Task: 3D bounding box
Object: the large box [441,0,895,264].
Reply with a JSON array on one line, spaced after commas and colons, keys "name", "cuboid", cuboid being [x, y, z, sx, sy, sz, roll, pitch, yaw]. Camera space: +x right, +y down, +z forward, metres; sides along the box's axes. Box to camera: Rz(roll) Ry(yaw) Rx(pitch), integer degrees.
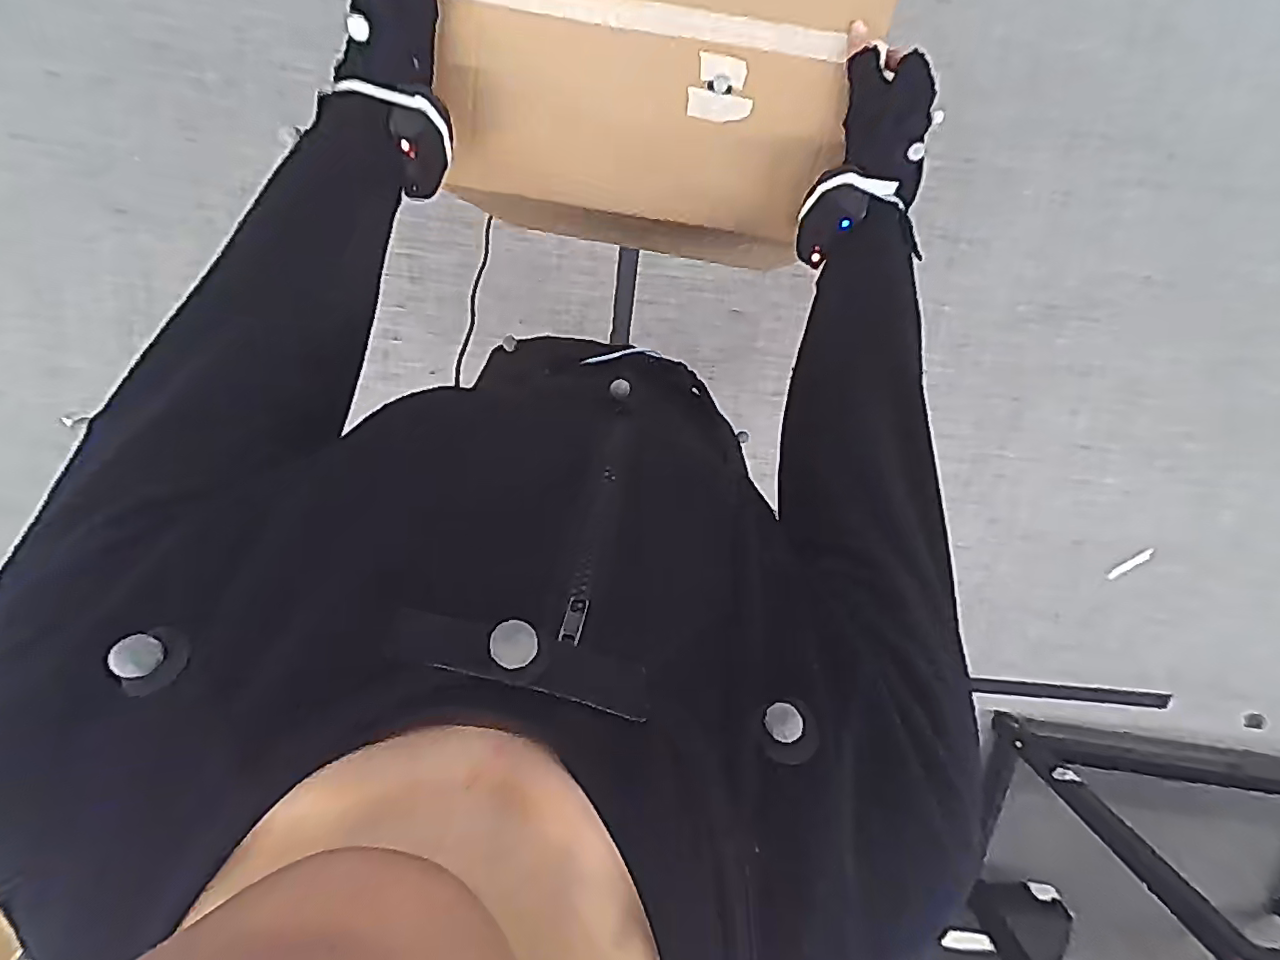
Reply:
[{"name": "large box", "cuboid": [0.023, -0.454, 0.629, 0.408, 0.320, 0.320, 9, 108, -2]}]
